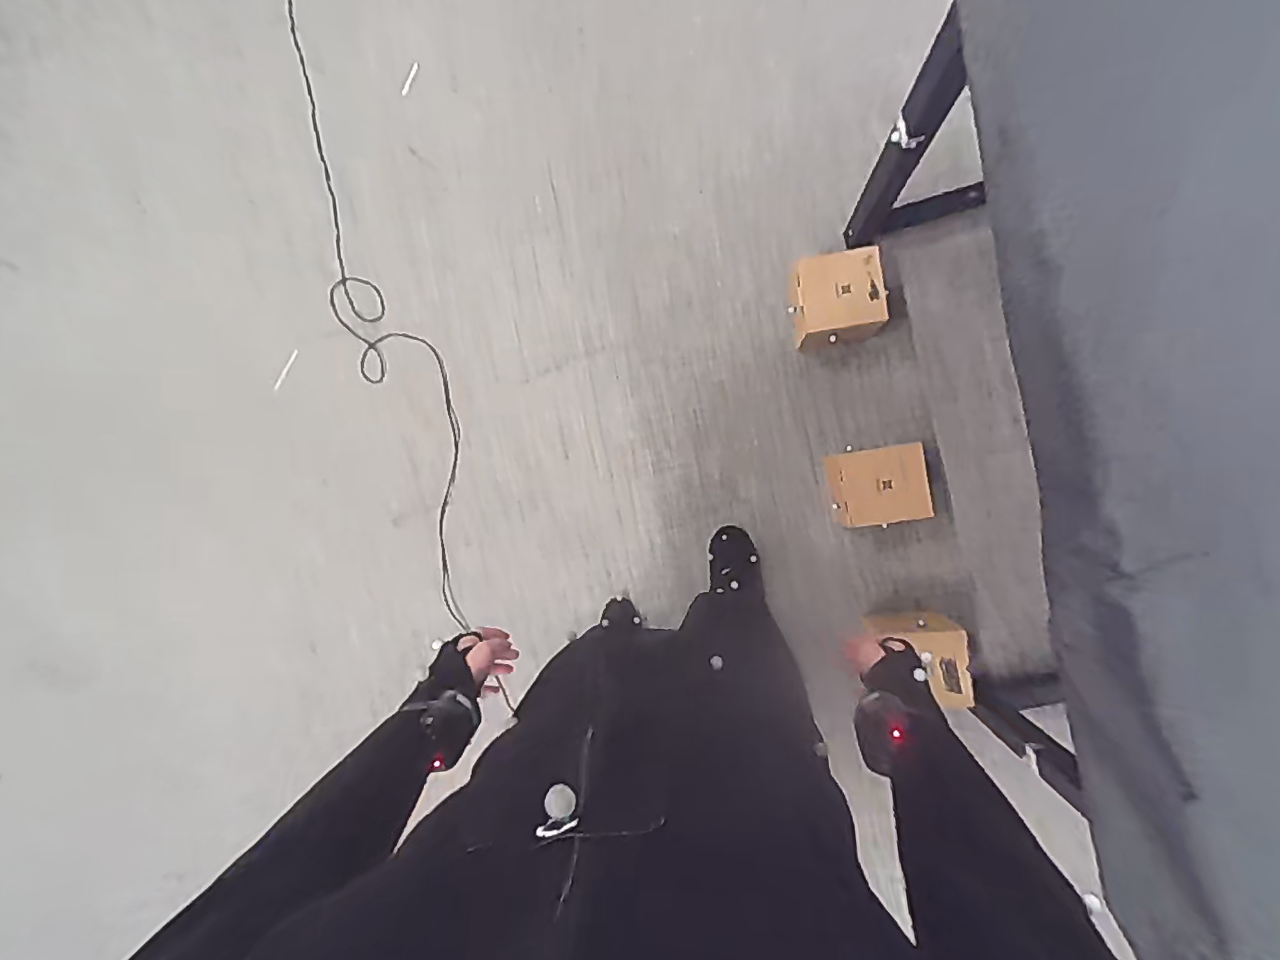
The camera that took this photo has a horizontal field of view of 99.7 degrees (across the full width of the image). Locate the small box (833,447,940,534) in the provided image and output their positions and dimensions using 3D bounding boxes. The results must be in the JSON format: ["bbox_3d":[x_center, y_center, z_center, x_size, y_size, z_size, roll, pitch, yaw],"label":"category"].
[{"bbox_3d":[0.550,0.025,1.233,0.179,0.176,0.168,-11,89,8],"label":"small box"}]

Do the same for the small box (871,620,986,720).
[{"bbox_3d":[0.635,0.417,1.208,0.179,0.176,0.168,-7,88,11],"label":"small box"}]
